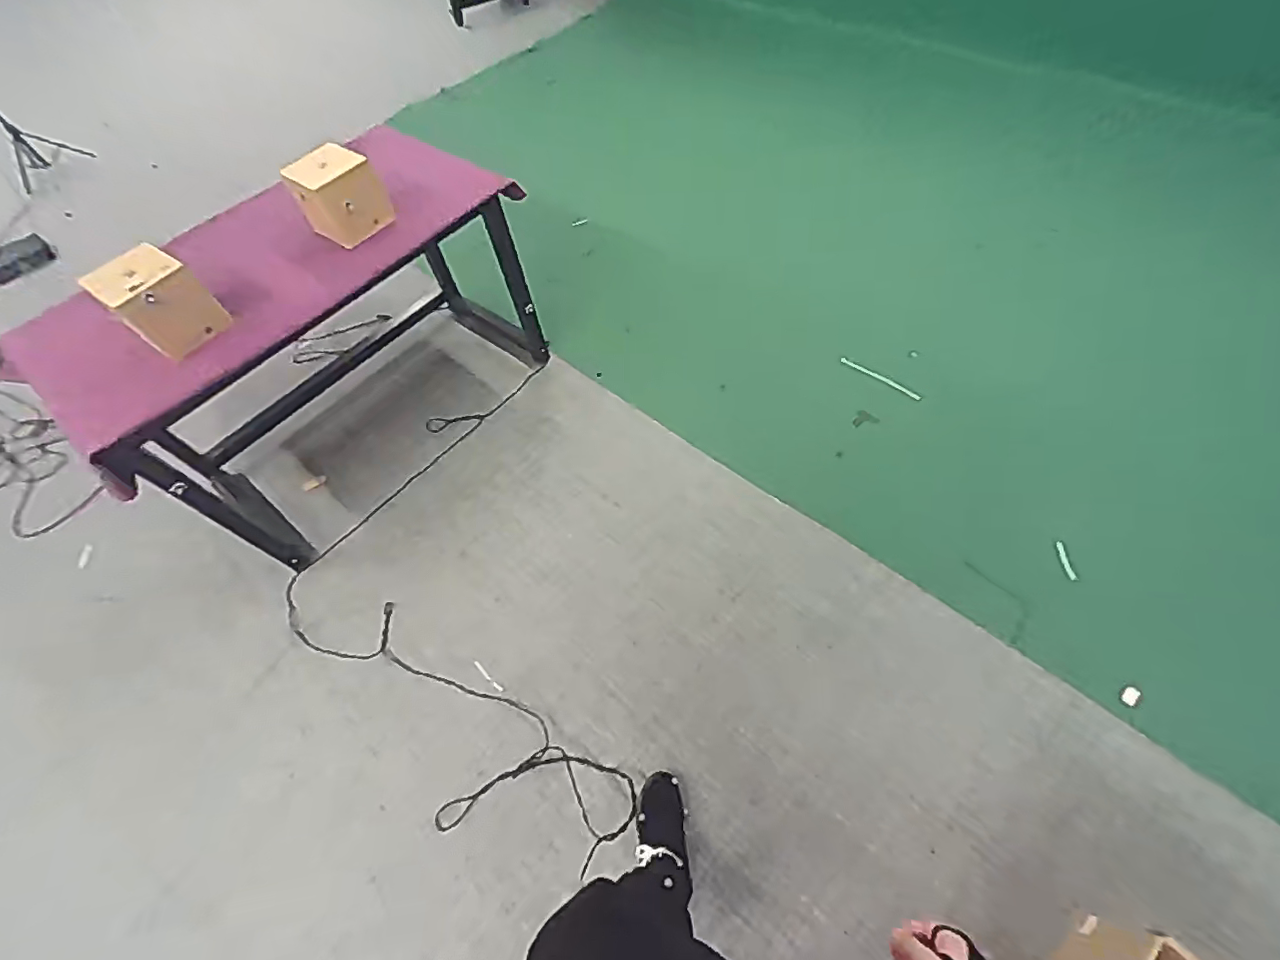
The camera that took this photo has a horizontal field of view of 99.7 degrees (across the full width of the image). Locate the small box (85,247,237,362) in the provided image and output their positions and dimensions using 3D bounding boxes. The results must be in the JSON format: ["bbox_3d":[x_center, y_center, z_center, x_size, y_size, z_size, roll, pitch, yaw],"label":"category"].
[{"bbox_3d":[-1.114,-0.408,1.271,0.179,0.176,0.168,29,66,22],"label":"small box"}]

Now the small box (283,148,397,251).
[{"bbox_3d":[-0.791,-0.744,1.445,0.179,0.176,0.168,32,67,24],"label":"small box"}]
